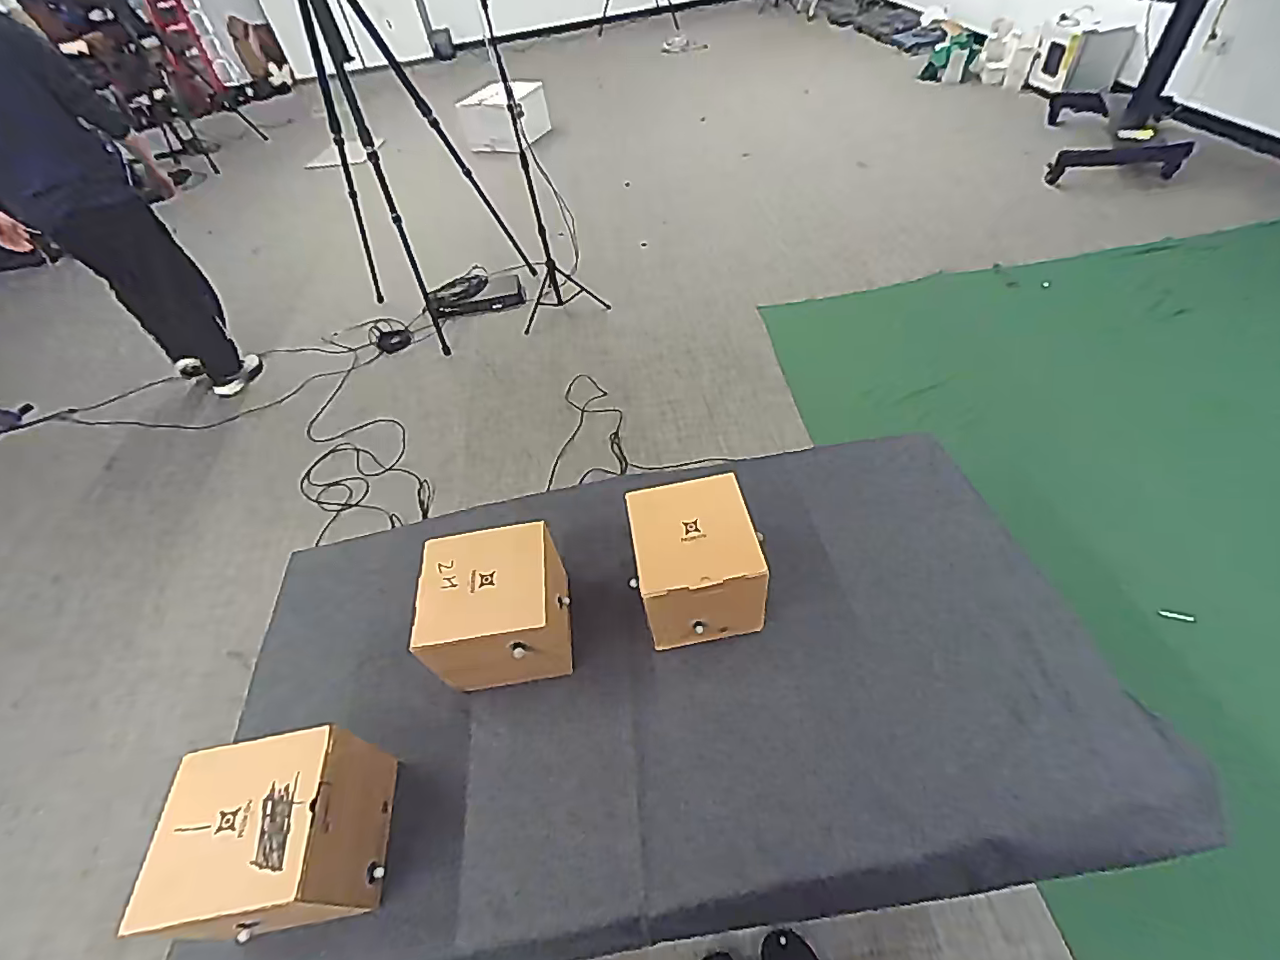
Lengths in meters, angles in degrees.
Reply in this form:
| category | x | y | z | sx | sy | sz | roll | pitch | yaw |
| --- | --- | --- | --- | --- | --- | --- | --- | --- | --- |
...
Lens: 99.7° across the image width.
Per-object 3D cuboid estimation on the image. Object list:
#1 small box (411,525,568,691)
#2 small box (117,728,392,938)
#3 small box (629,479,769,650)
| category | x | y | z | sx | sy | sz | roll | pitch | yaw |
| --- | --- | --- | --- | --- | --- | --- | --- | --- | --- |
| small box | -0.202 | 0.189 | 0.784 | 0.179 | 0.176 | 0.168 | -9 | 50 | 0 |
| small box | -0.415 | 0.409 | 0.626 | 0.179 | 0.176 | 0.168 | -11 | 48 | -1 |
| small box | 0.081 | 0.127 | 0.802 | 0.168 | 0.176 | 0.179 | -10 | 50 | -1 |
